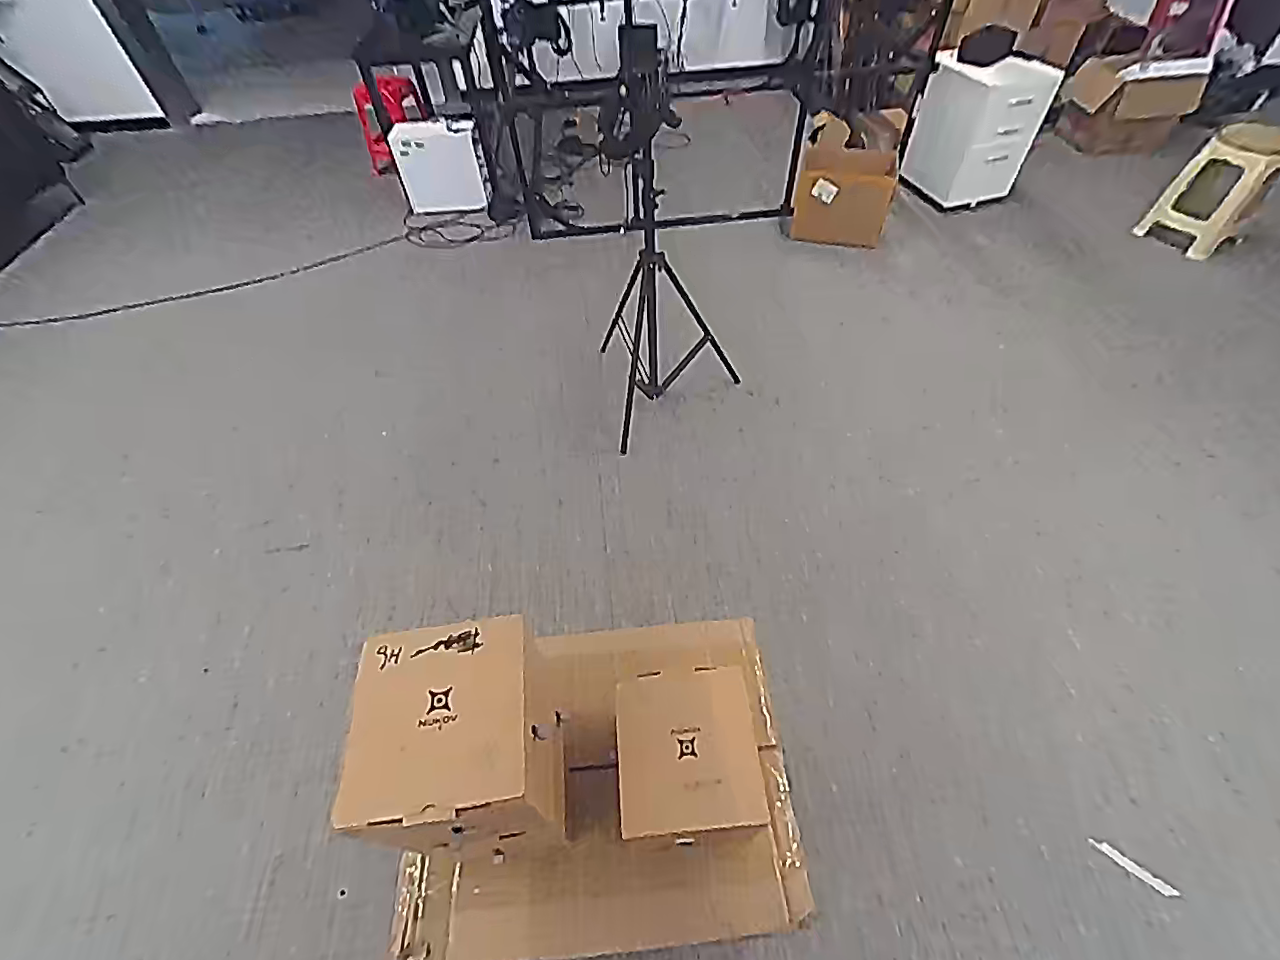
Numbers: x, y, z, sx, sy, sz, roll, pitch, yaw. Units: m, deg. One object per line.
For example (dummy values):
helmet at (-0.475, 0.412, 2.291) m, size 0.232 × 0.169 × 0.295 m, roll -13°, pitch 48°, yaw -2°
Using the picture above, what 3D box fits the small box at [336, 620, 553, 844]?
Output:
small box at (-0.189, 0.274, 0.578) m, size 0.168 × 0.176 × 0.179 m, roll -7°, pitch 52°, yaw -4°

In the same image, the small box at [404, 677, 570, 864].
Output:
small box at (-0.184, 0.379, 0.704) m, size 0.168 × 0.176 × 0.179 m, roll -6°, pitch 51°, yaw -3°

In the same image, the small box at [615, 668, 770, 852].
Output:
small box at (0.060, 0.366, 0.703) m, size 0.168 × 0.176 × 0.179 m, roll -7°, pitch 52°, yaw 0°
